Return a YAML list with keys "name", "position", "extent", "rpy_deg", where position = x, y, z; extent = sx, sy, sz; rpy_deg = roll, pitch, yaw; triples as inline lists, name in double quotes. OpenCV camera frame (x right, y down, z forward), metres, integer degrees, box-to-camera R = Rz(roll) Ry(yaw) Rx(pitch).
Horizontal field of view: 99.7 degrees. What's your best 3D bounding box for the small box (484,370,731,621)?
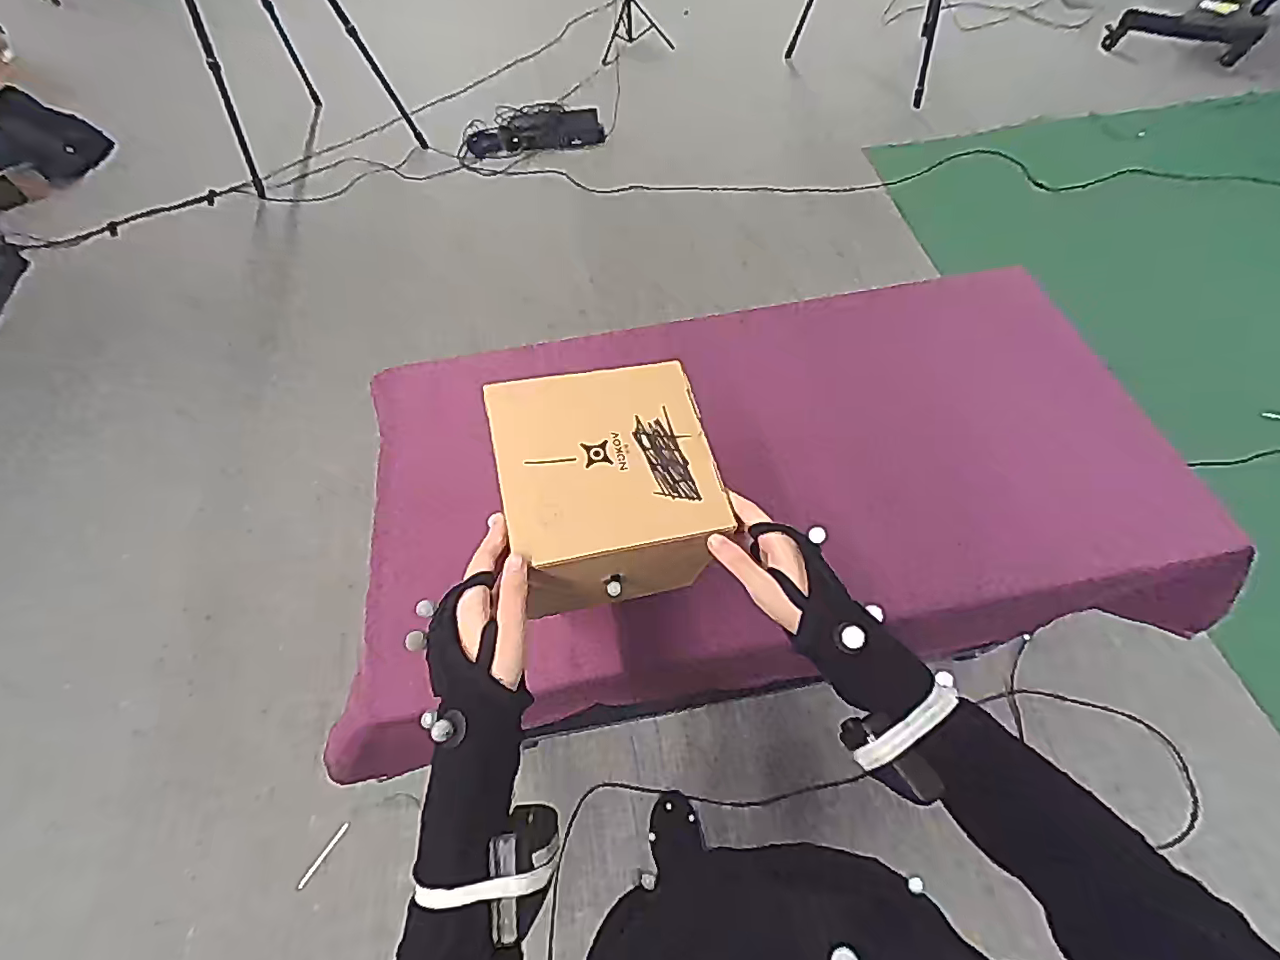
- name: "small box"
  position: [-0.041, 0.021, 0.502]
  extent: [0.179, 0.176, 0.168]
  rpy_deg: [-9, 65, -13]
